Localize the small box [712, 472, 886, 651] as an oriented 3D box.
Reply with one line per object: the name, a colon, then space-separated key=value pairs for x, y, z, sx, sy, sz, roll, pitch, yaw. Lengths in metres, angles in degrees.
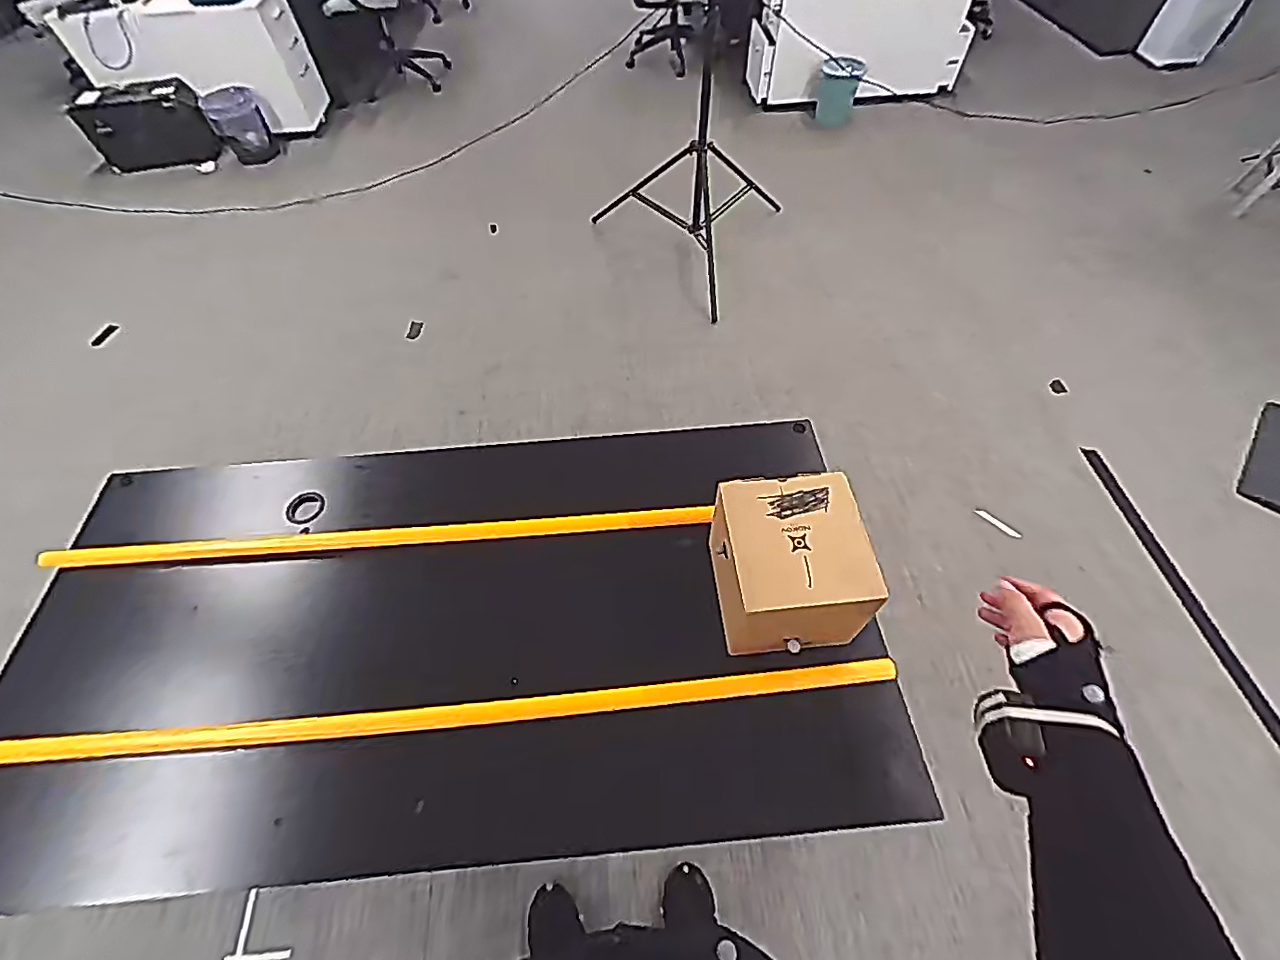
small box: x=0.193 y=0.112 z=0.721 sx=0.168 sy=0.176 sz=0.179 roll=-5 pitch=56 yaw=-1
